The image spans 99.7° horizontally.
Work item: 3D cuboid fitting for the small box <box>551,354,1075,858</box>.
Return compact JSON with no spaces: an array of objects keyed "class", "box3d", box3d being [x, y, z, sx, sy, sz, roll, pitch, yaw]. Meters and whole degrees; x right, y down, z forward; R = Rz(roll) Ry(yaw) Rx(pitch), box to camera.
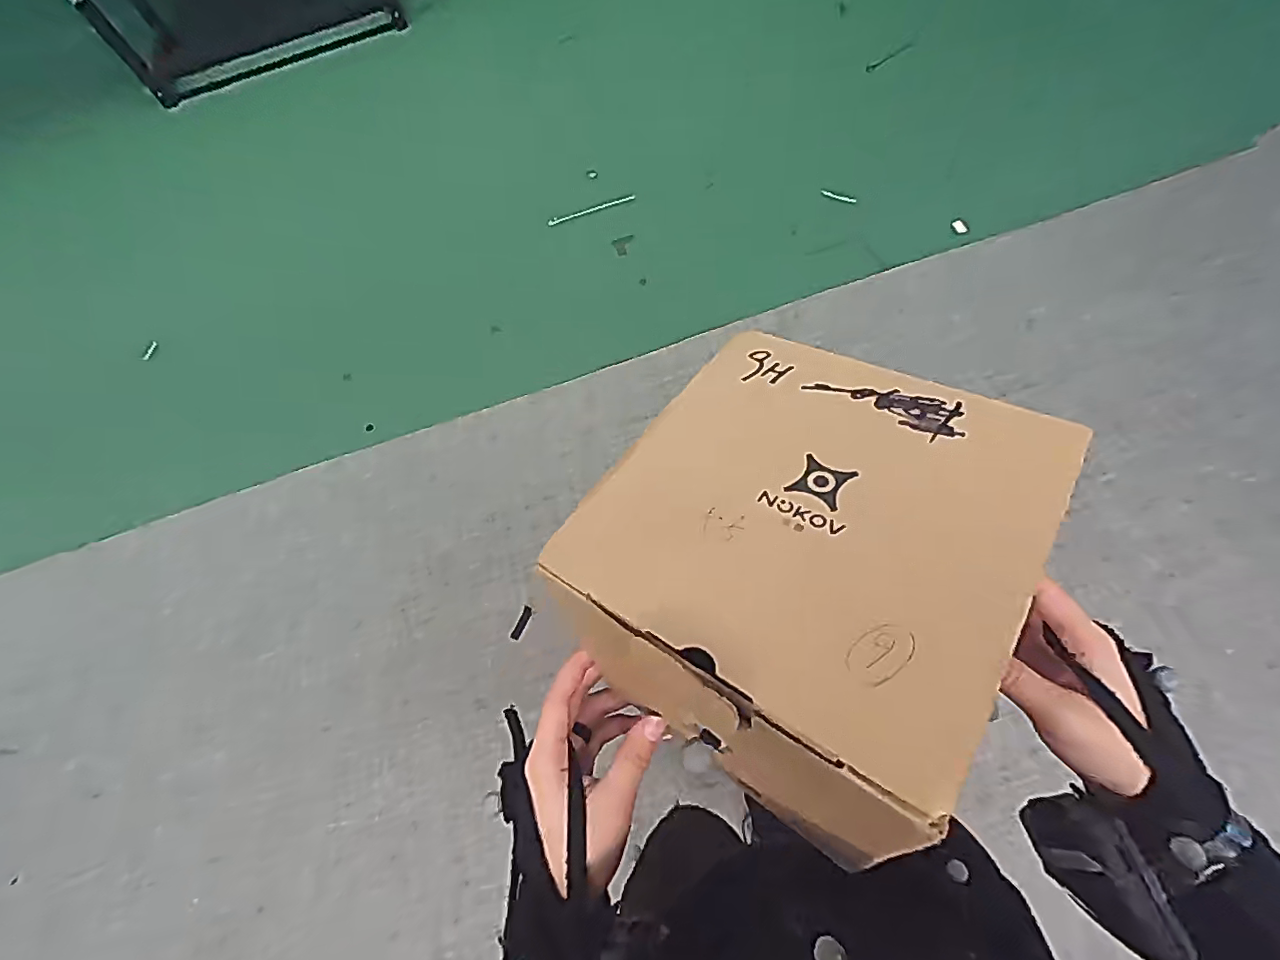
[{"class":"small box","box3d":[0.087,0.067,0.295,0.168,0.176,0.179,26,61,29]}]
